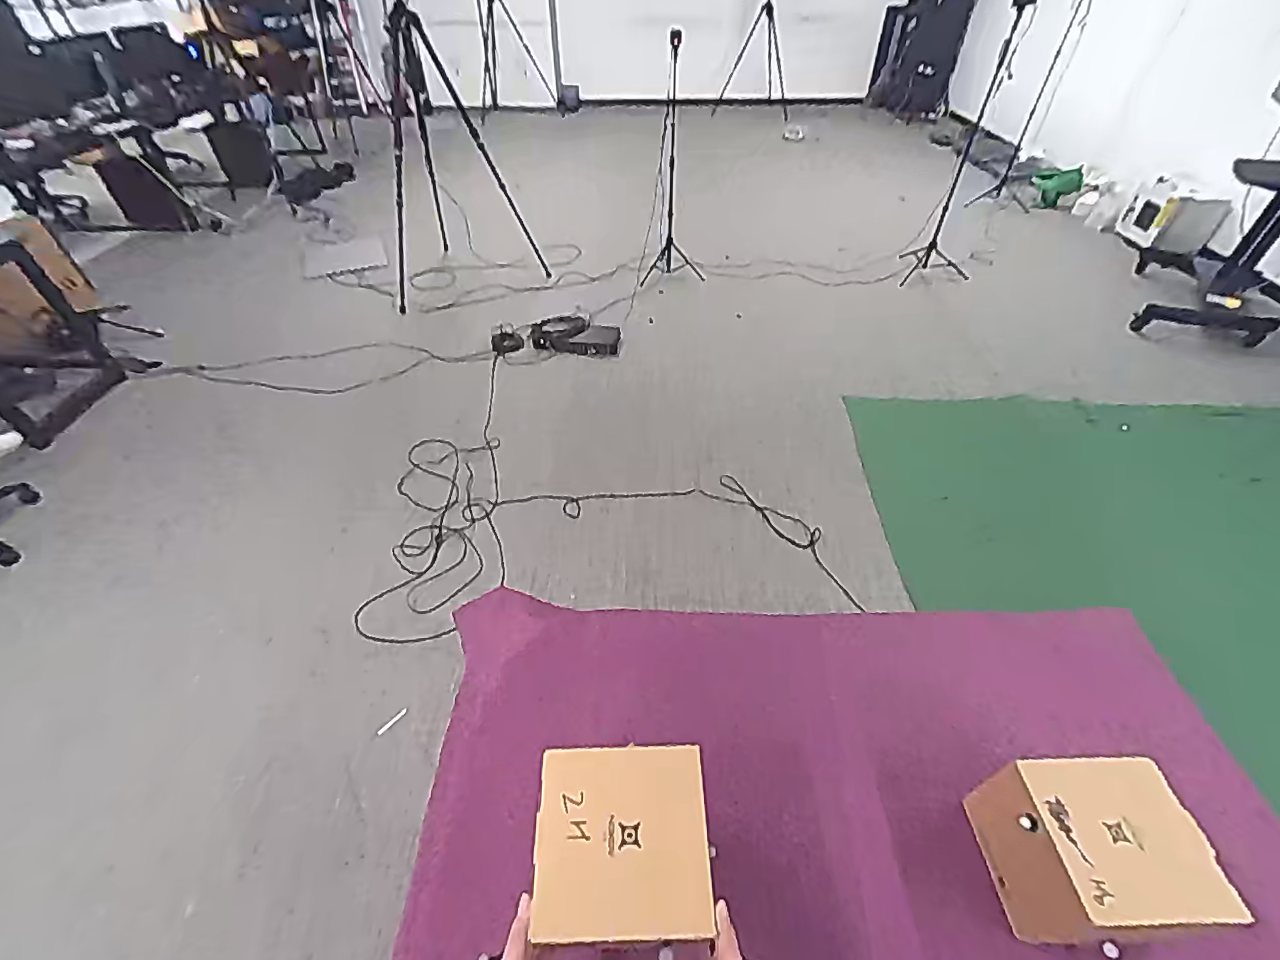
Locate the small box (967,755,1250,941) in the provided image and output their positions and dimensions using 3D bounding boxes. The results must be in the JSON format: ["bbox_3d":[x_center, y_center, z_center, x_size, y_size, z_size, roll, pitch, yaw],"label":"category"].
[{"bbox_3d":[0.560,0.463,0.681,0.179,0.176,0.168,-1,44,1],"label":"small box"}]

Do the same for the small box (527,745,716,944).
[{"bbox_3d":[-0.016,0.409,0.607,0.179,0.176,0.168,-2,48,1],"label":"small box"}]
